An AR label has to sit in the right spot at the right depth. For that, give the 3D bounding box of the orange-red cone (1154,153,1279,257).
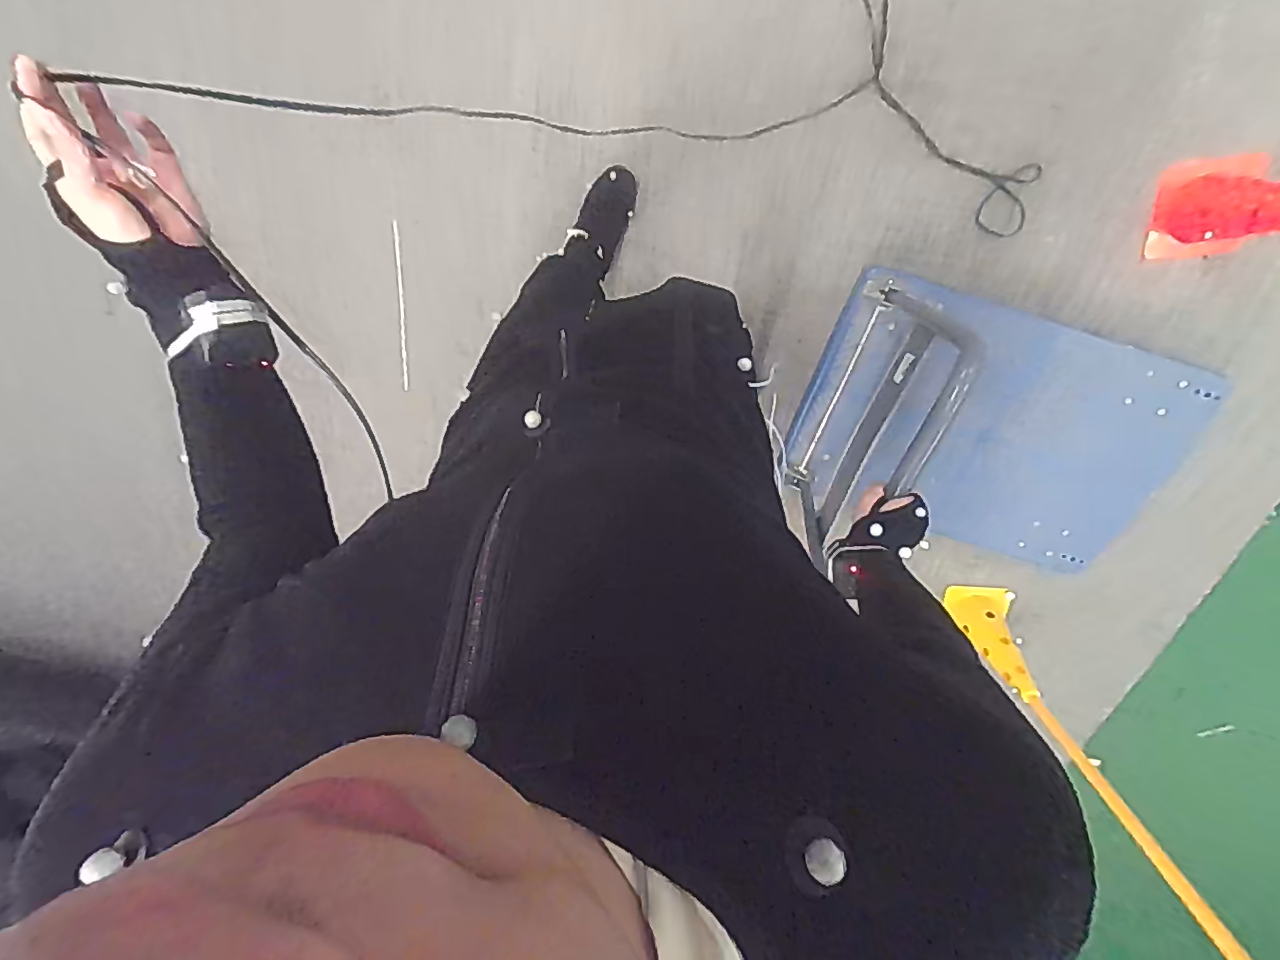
[{"bbox_3d":[1.257,-0.535,1.052,0.198,0.360,0.199,-2,115,8],"label":"orange-red cone"}]
